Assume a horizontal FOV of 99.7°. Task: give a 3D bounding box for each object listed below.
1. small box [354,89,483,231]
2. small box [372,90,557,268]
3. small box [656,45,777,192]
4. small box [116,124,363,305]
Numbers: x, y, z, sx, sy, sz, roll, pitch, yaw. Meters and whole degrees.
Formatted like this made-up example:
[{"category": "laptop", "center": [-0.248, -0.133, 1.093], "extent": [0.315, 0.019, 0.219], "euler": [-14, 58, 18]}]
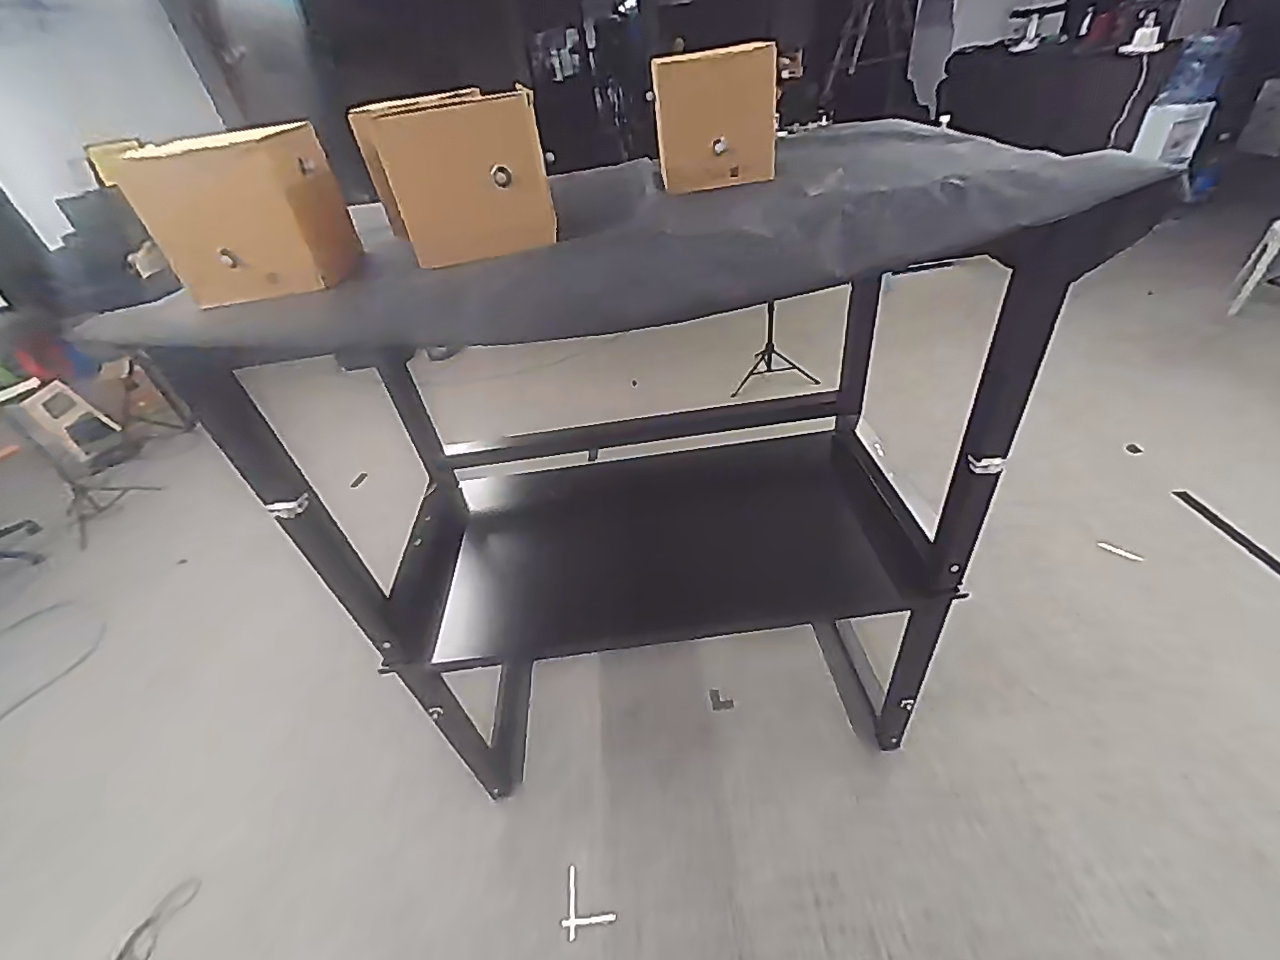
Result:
[{"category": "small box", "center": [-0.324, -0.518, 0.883], "extent": [0.168, 0.176, 0.179], "euler": [-8, 38, 2]}, {"category": "small box", "center": [-0.208, -0.393, 0.705], "extent": [0.179, 0.176, 0.168], "euler": [-9, 37, -1]}, {"category": "small box", "center": [0.115, -0.569, 0.856], "extent": [0.168, 0.176, 0.179], "euler": [-7, 39, 4]}, {"category": "small box", "center": [-0.488, -0.343, 0.699], "extent": [0.168, 0.176, 0.179], "euler": [-10, 39, -2]}]
